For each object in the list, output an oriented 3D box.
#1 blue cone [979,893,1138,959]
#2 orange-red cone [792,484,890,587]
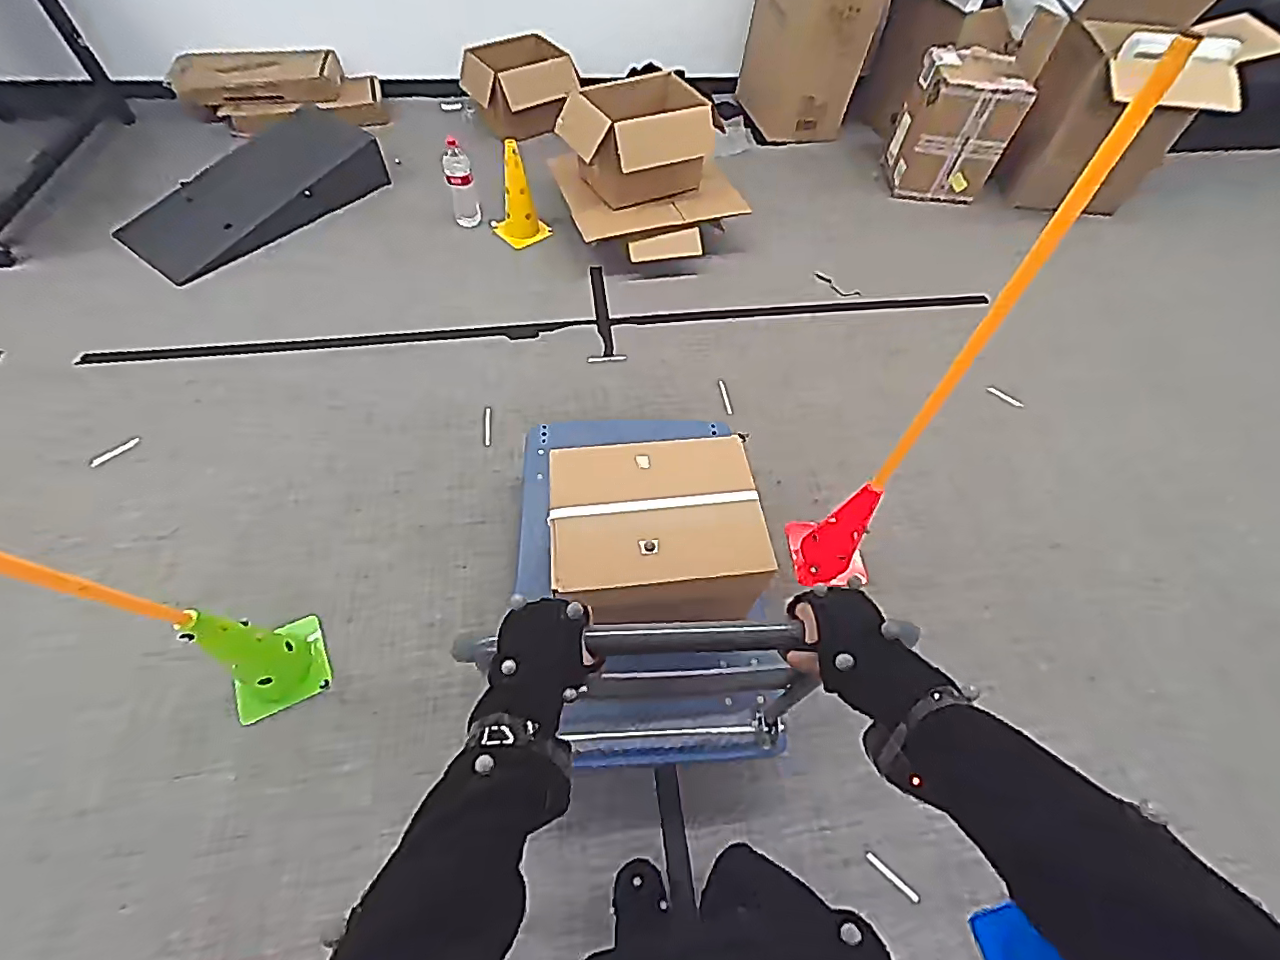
[{"bbox_3d":[0.801,0.865,0.936,0.193,0.380,0.192,-8,57,-9],"label":"blue cone"},{"bbox_3d":[0.550,0.117,1.392,0.199,0.360,0.198,1,57,-4],"label":"orange-red cone"}]
